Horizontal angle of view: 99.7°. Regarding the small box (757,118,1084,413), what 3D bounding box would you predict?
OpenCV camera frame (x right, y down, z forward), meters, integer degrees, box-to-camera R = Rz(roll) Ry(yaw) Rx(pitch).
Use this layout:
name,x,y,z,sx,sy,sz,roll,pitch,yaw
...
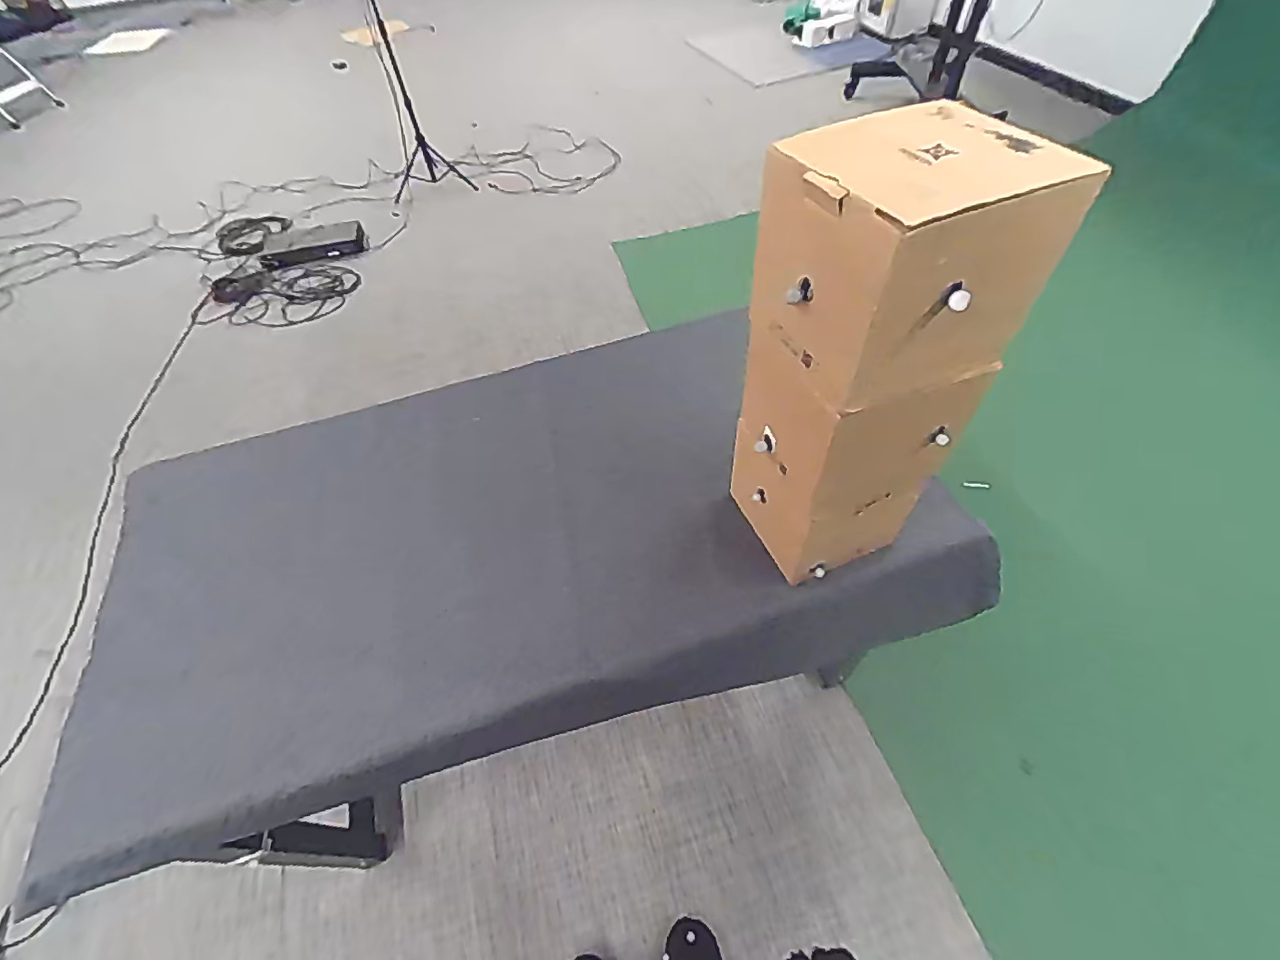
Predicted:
name,x,y,z,sx,sy,sz,roll,pitch,yaw
small box,0.217,-0.186,0.480,0.179,0.176,0.168,-20,53,-10

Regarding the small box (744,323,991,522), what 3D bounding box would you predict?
name,x,y,z,sx,sy,sz,roll,pitch,yaw
small box,0.231,-0.081,0.605,0.179,0.176,0.168,-19,52,-9

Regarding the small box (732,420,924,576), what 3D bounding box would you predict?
name,x,y,z,sx,sy,sz,roll,pitch,yaw
small box,0.239,0.010,0.738,0.168,0.176,0.179,-20,53,-11
